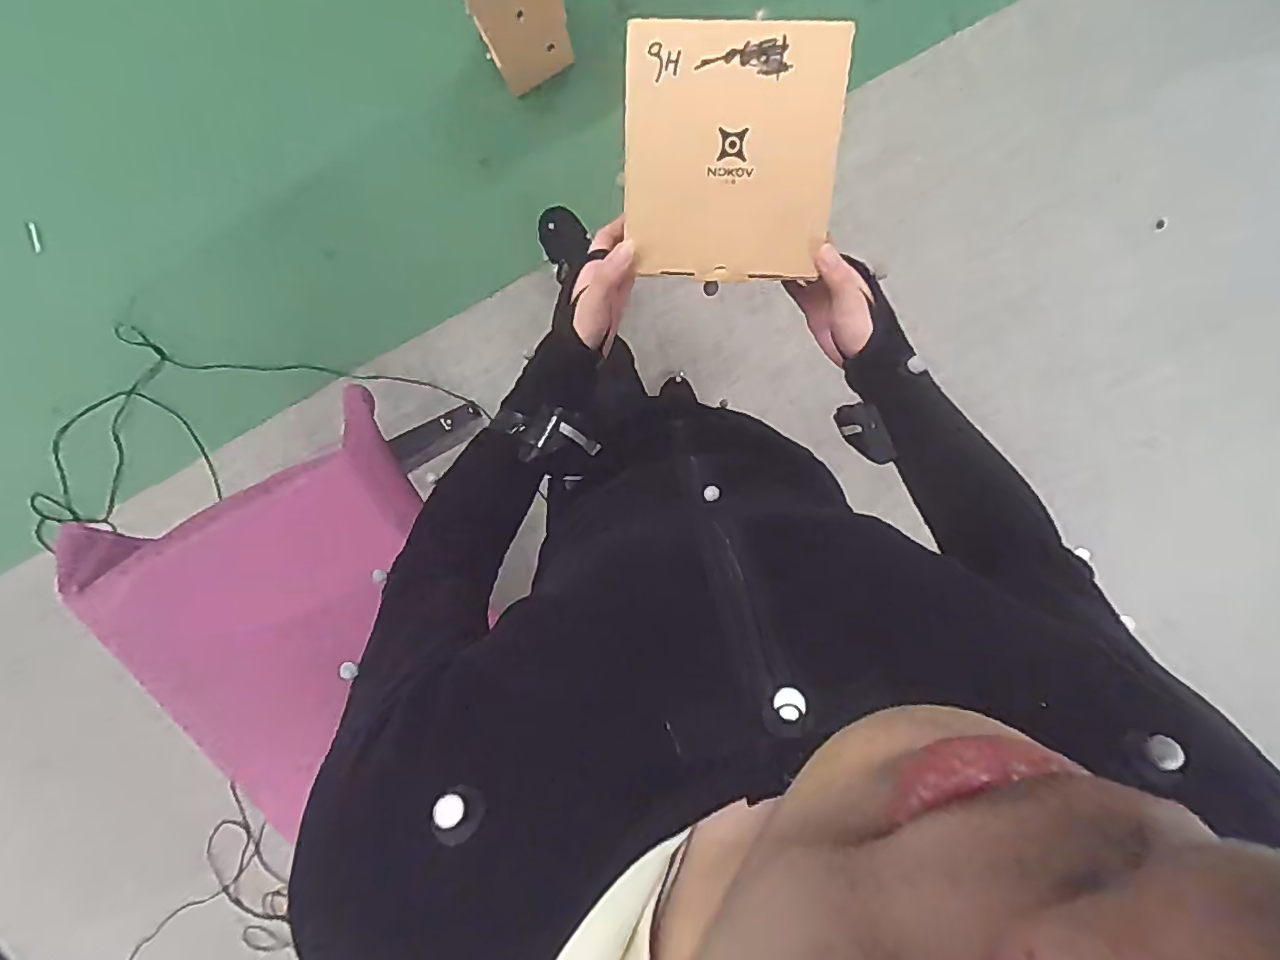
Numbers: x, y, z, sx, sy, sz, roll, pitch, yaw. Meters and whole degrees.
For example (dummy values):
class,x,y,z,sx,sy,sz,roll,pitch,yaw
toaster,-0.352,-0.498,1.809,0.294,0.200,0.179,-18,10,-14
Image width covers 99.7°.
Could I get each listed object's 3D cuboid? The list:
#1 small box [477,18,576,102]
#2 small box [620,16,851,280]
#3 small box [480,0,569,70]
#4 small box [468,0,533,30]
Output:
class,x,y,z,sx,sy,sz,roll,pitch,yaw
small box,-0.260,-1.034,1.260,0.179,0.176,0.168,-26,103,8
small box,0.073,-0.281,0.494,0.168,0.176,0.179,3,111,2
small box,-0.258,-0.996,1.102,0.179,0.176,0.168,-28,103,10
small box,-0.265,-0.952,0.944,0.179,0.176,0.168,-30,103,8
